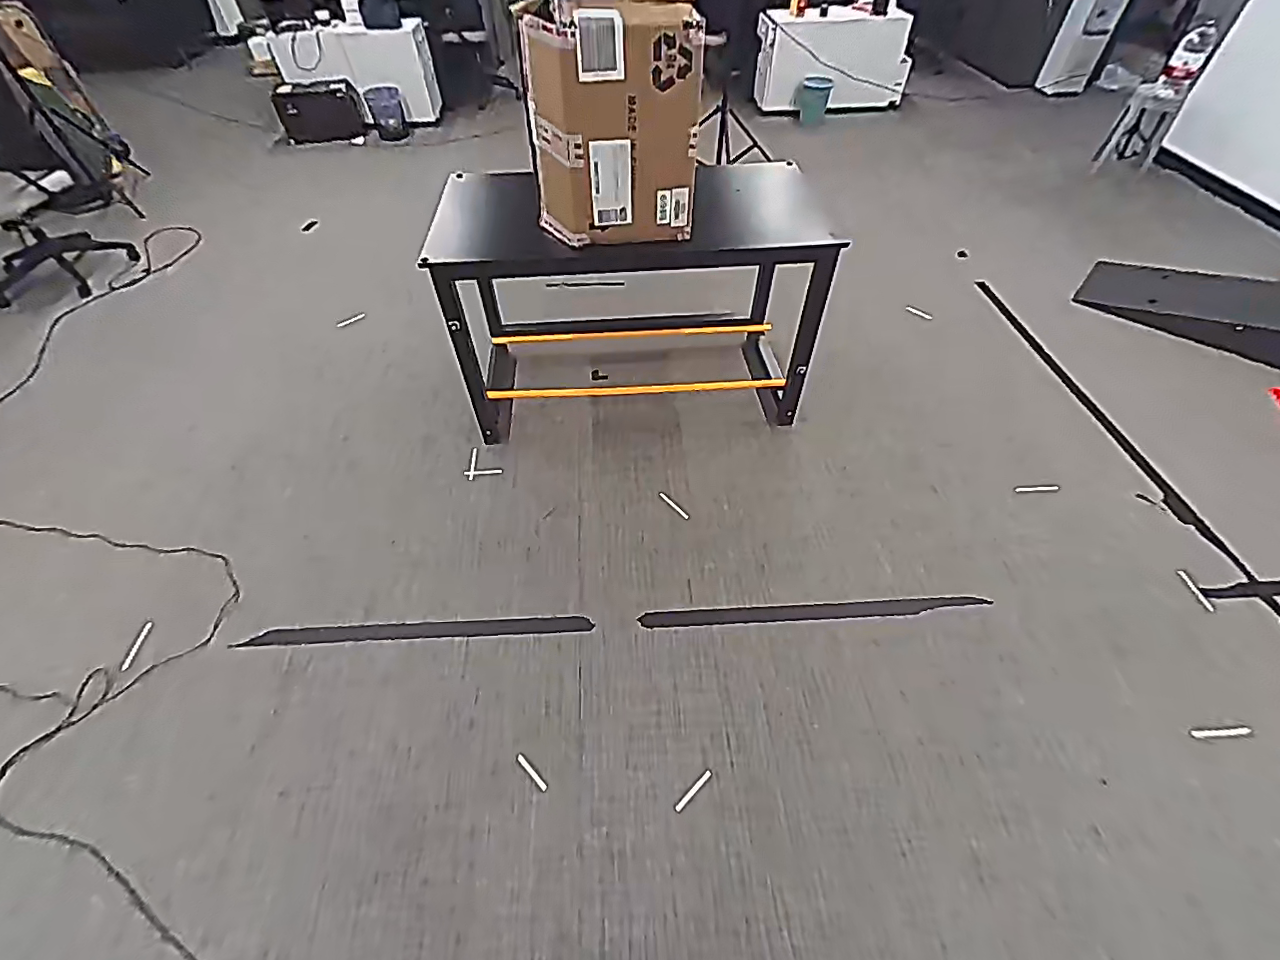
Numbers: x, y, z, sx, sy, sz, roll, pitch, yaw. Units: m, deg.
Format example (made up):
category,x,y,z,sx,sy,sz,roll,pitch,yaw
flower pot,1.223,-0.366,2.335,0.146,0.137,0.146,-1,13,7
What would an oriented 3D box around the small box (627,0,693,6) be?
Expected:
category,x,y,z,sx,sy,sz,roll,pitch,yaw
small box,0.043,-1.273,1.309,0.168,0.176,0.179,-5,48,-5
